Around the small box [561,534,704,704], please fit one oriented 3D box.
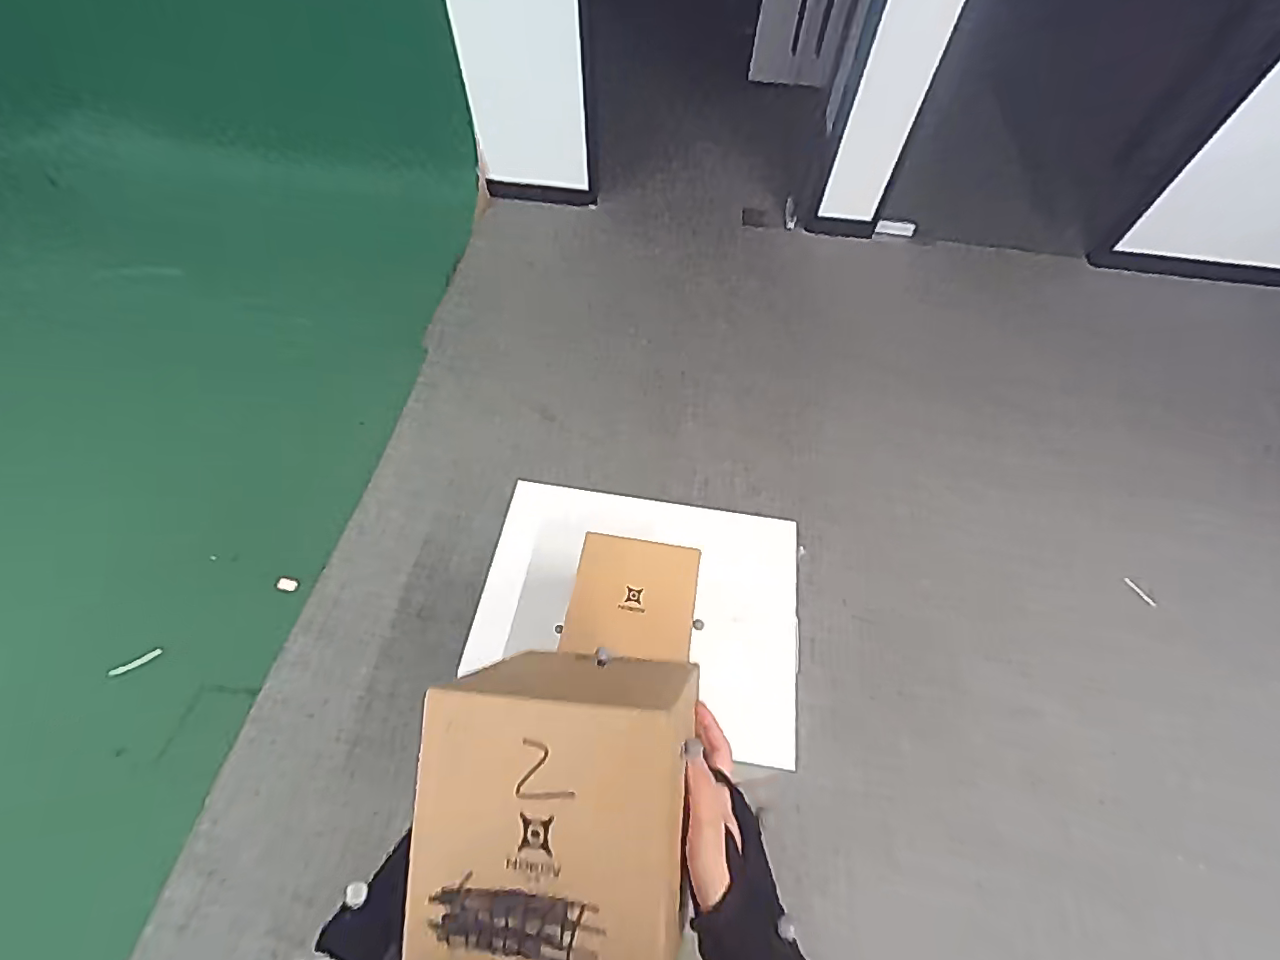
[{"bbox_3d":[-0.008,0.201,0.769,0.168,0.176,0.179,8,58,3],"label":"small box"}]
